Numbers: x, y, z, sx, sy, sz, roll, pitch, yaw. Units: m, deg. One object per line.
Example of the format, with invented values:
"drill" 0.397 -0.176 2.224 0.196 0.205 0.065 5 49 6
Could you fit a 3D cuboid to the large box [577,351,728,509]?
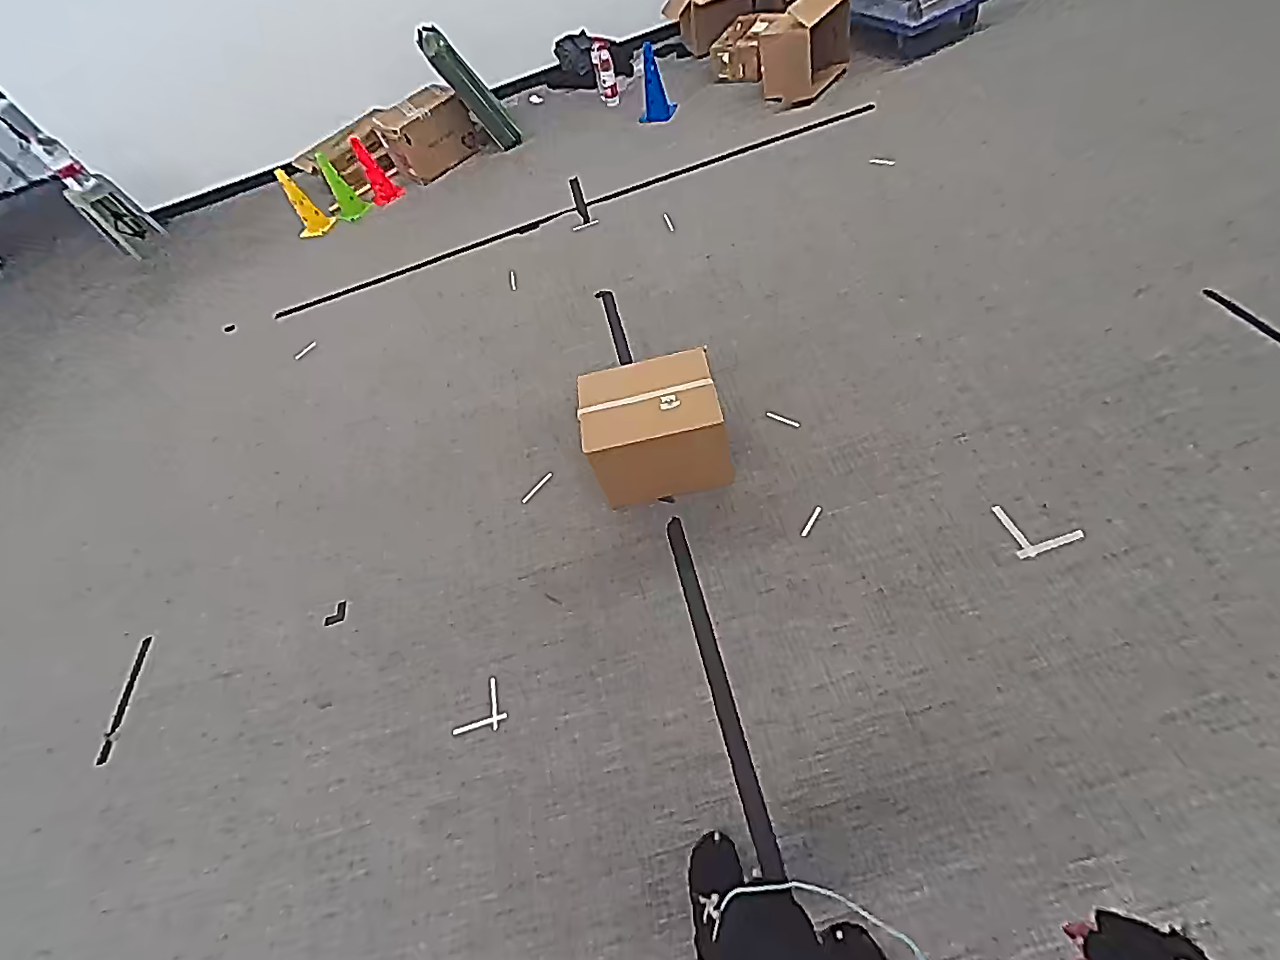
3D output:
"large box" 0.043 -0.147 1.696 0.408 0.320 0.320 -12 55 5
